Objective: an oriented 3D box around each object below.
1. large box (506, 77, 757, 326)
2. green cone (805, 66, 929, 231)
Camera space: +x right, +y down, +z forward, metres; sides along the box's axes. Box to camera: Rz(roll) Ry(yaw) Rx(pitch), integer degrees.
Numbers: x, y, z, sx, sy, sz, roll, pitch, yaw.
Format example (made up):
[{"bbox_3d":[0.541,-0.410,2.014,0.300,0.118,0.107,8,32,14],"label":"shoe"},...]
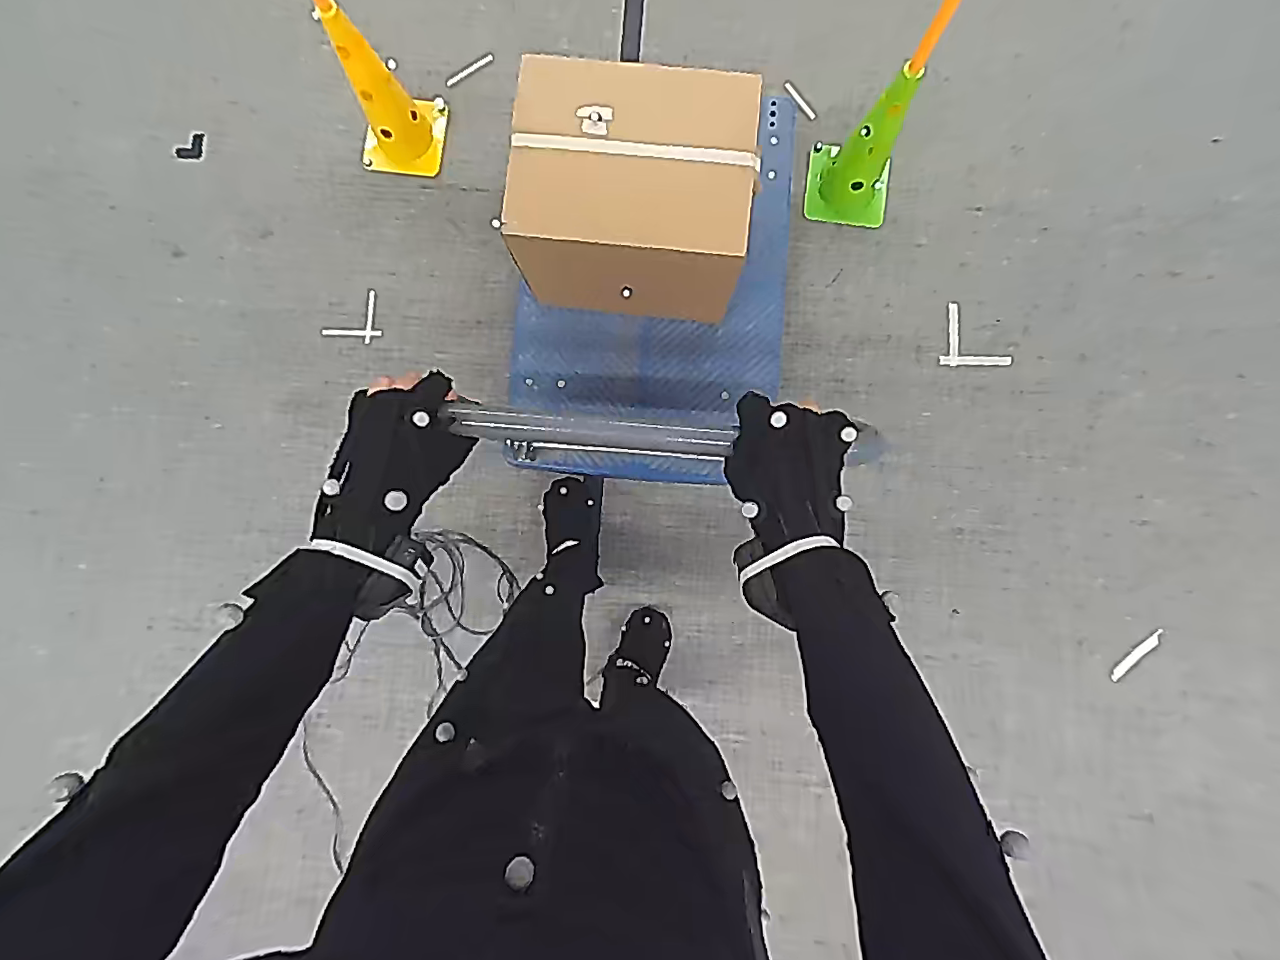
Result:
[{"bbox_3d":[-0.007,-0.510,1.052,0.408,0.320,0.320,6,86,3],"label":"large box"},{"bbox_3d":[0.523,-0.749,1.199,0.202,0.368,0.200,8,86,1],"label":"green cone"}]
